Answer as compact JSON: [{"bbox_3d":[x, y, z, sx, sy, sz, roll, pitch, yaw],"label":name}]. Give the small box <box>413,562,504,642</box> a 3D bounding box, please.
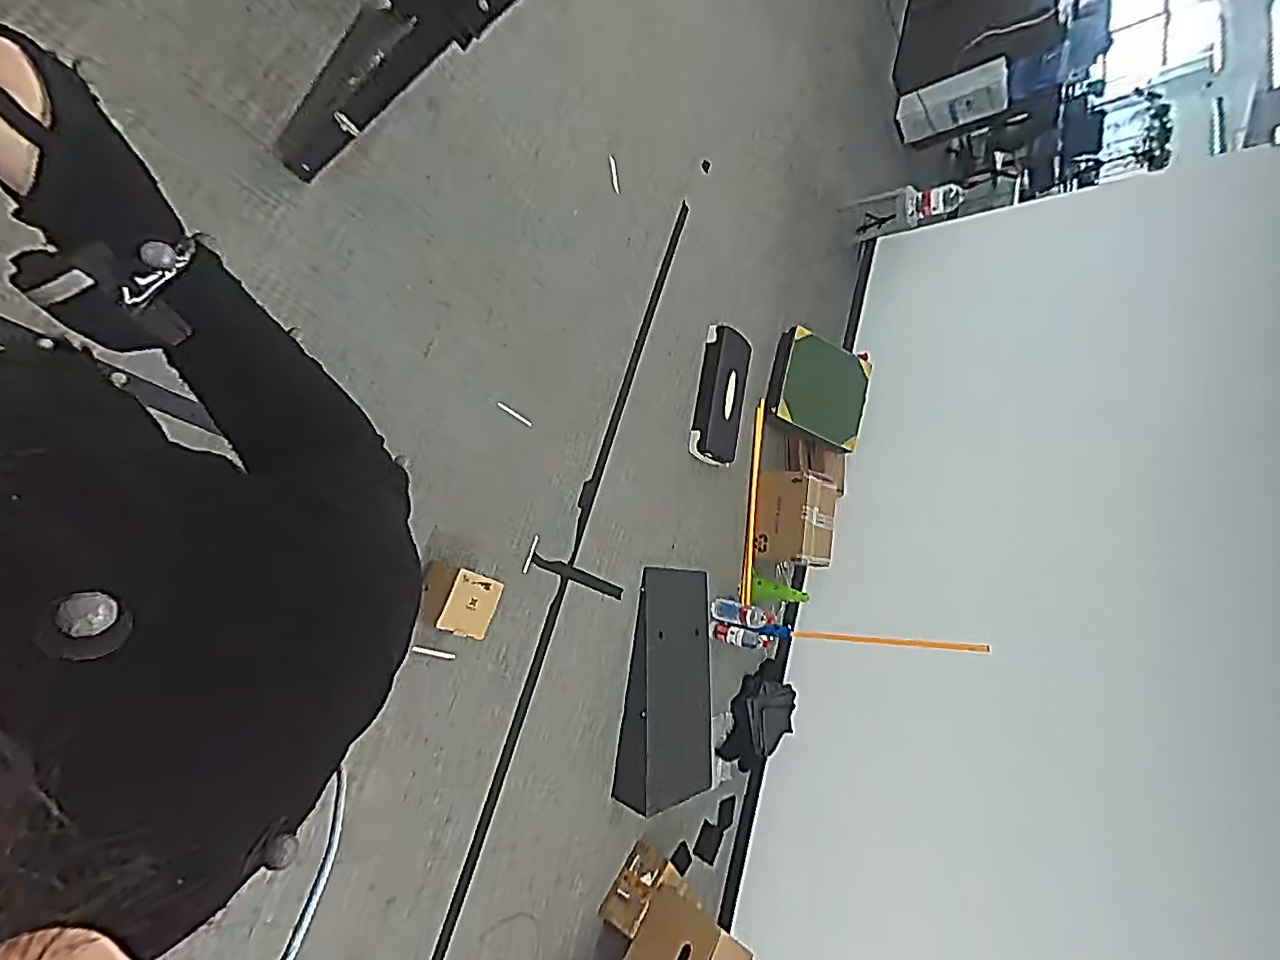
[{"bbox_3d":[-0.544,0.360,1.608,0.168,0.176,0.179,37,67,-44],"label":"small box"}]
